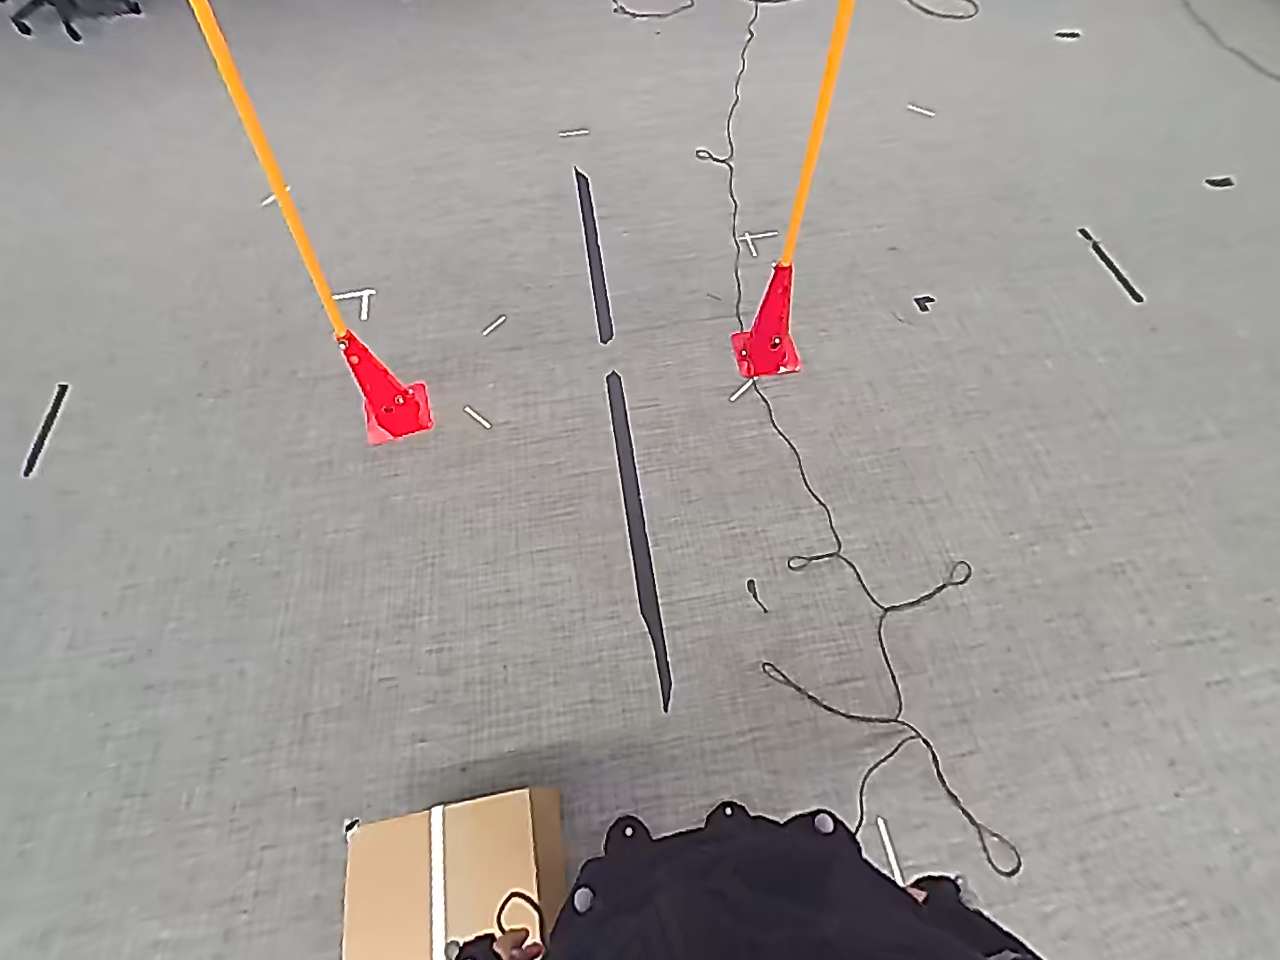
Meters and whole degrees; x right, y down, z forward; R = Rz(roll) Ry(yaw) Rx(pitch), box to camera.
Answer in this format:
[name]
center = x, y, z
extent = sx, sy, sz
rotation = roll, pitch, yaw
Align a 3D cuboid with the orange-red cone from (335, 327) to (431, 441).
[orange-red cone]
center = -0.777, -0.302, 1.570
extent = 0.199, 0.360, 0.198
rotation = -17, 61, -6
